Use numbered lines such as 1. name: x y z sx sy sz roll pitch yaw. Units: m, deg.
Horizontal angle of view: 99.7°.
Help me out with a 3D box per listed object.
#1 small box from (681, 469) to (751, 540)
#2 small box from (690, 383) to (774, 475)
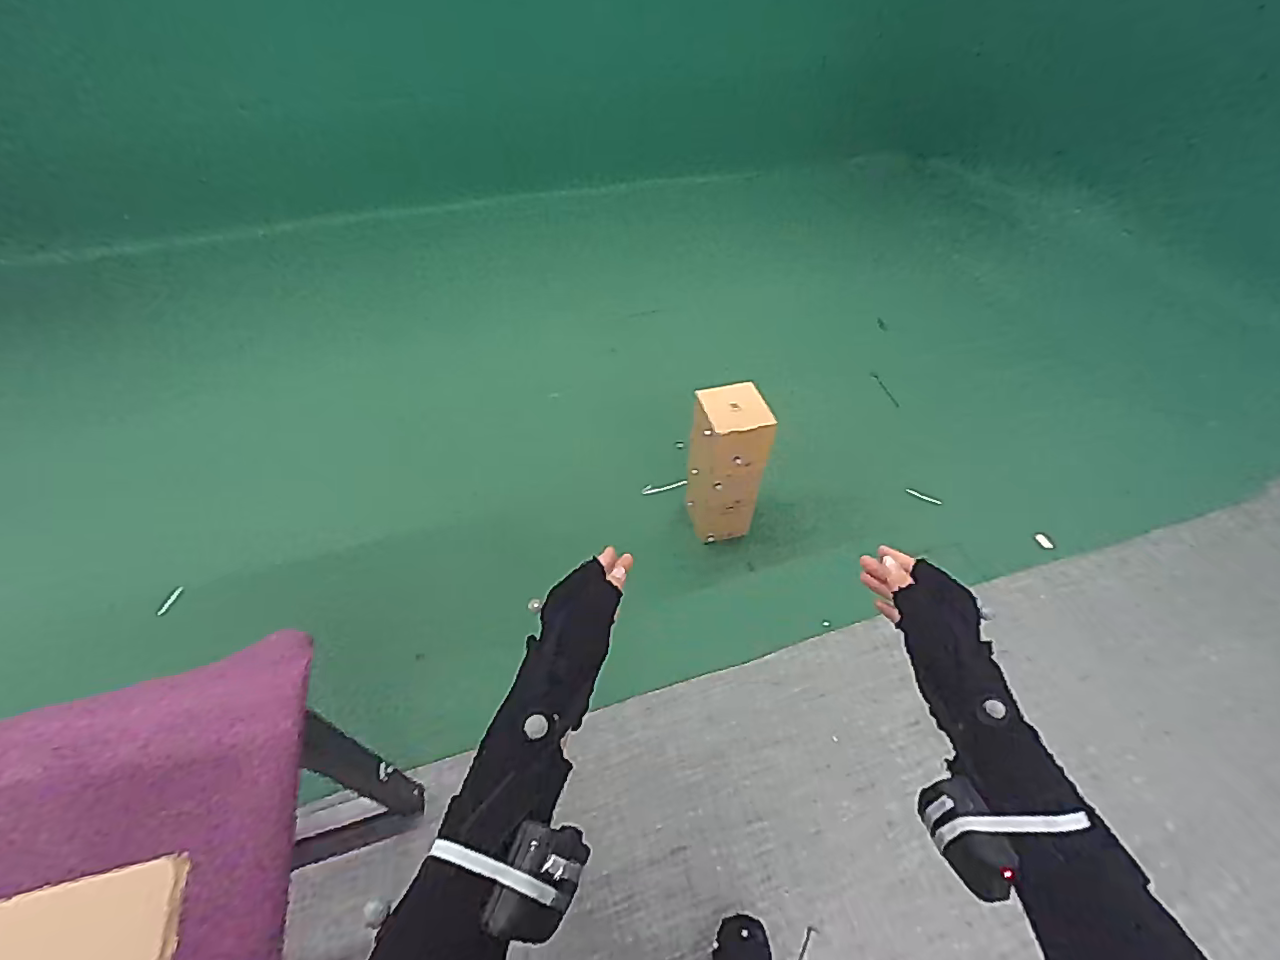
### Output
1. small box: 0.239 0.077 1.737 0.168 0.176 0.179 -13 53 -11
2. small box: 0.243 -0.139 1.489 0.168 0.176 0.179 -11 50 -11
